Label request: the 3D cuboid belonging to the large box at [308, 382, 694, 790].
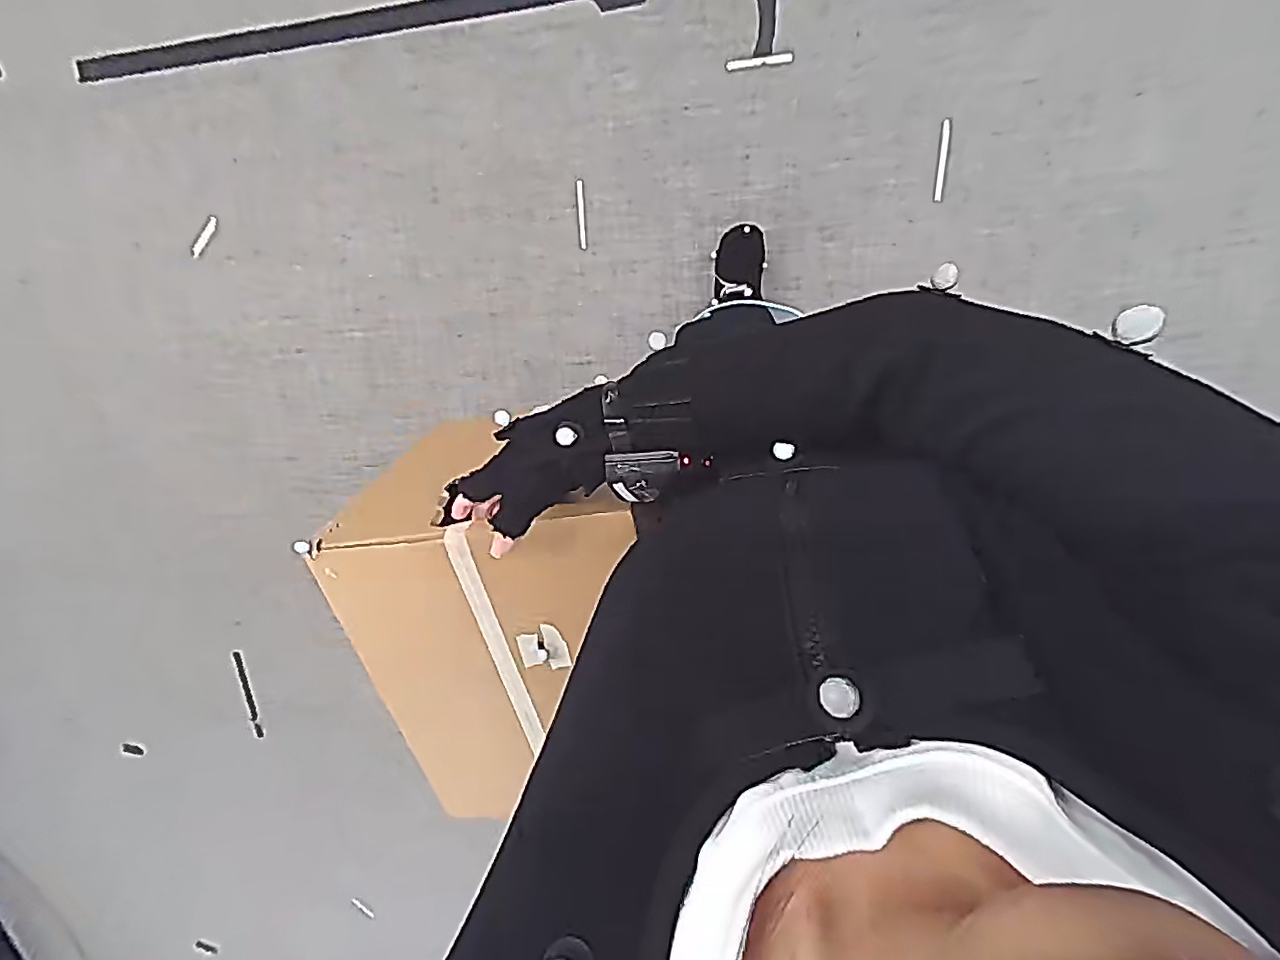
[{"bbox_3d":[-0.112,0.127,0.697,0.320,0.320,0.408,-8,116,8],"label":"large box"}]
